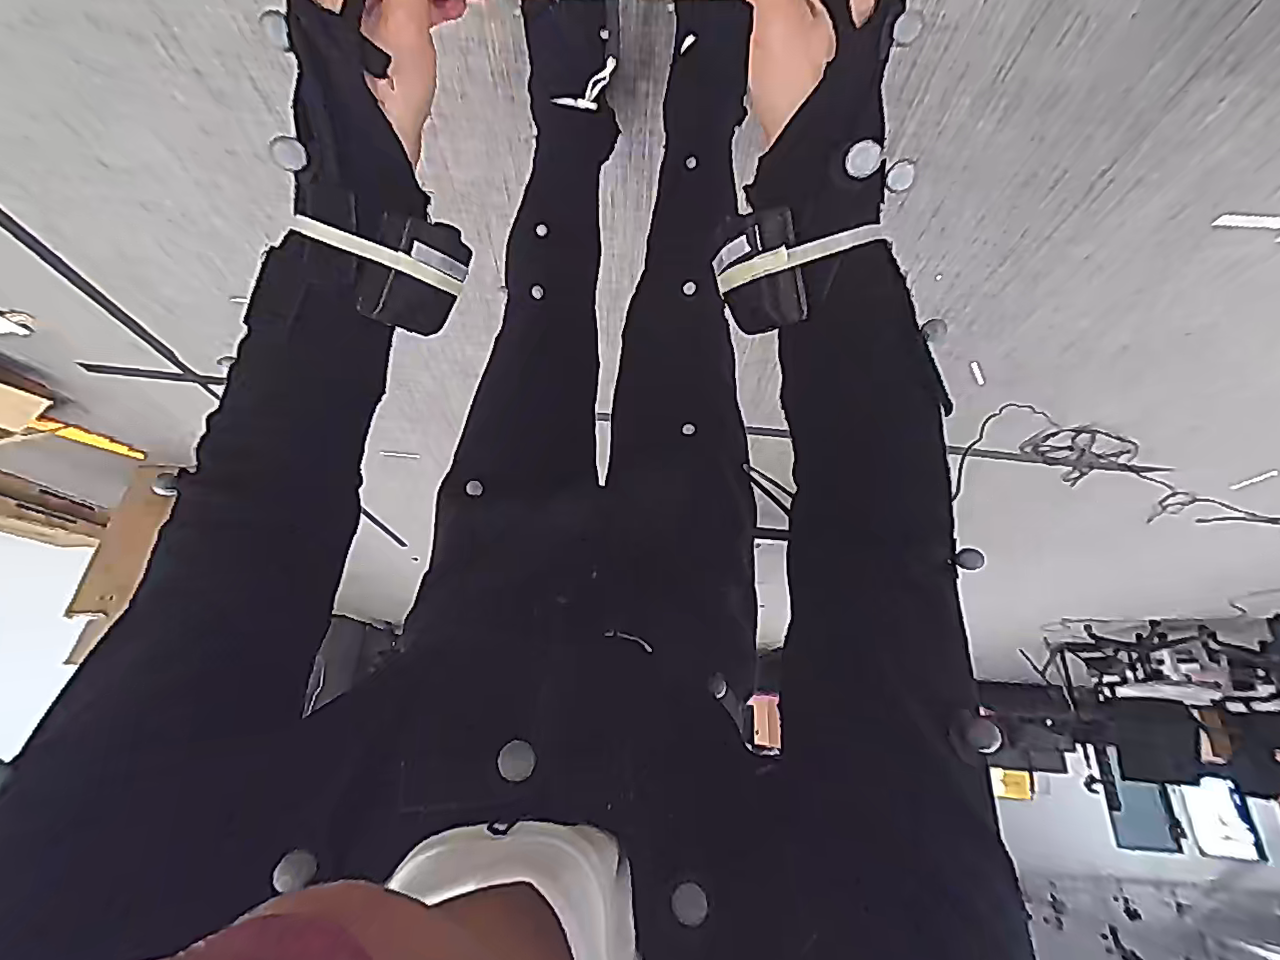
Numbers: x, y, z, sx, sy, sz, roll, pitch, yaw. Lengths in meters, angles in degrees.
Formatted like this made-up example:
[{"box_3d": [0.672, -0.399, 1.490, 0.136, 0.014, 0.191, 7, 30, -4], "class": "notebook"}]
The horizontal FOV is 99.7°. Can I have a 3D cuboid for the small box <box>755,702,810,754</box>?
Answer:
[{"box_3d": [0.556, 0.973, 2.125, 0.168, 0.176, 0.179, 6, 156, -4], "class": "small box"}]
